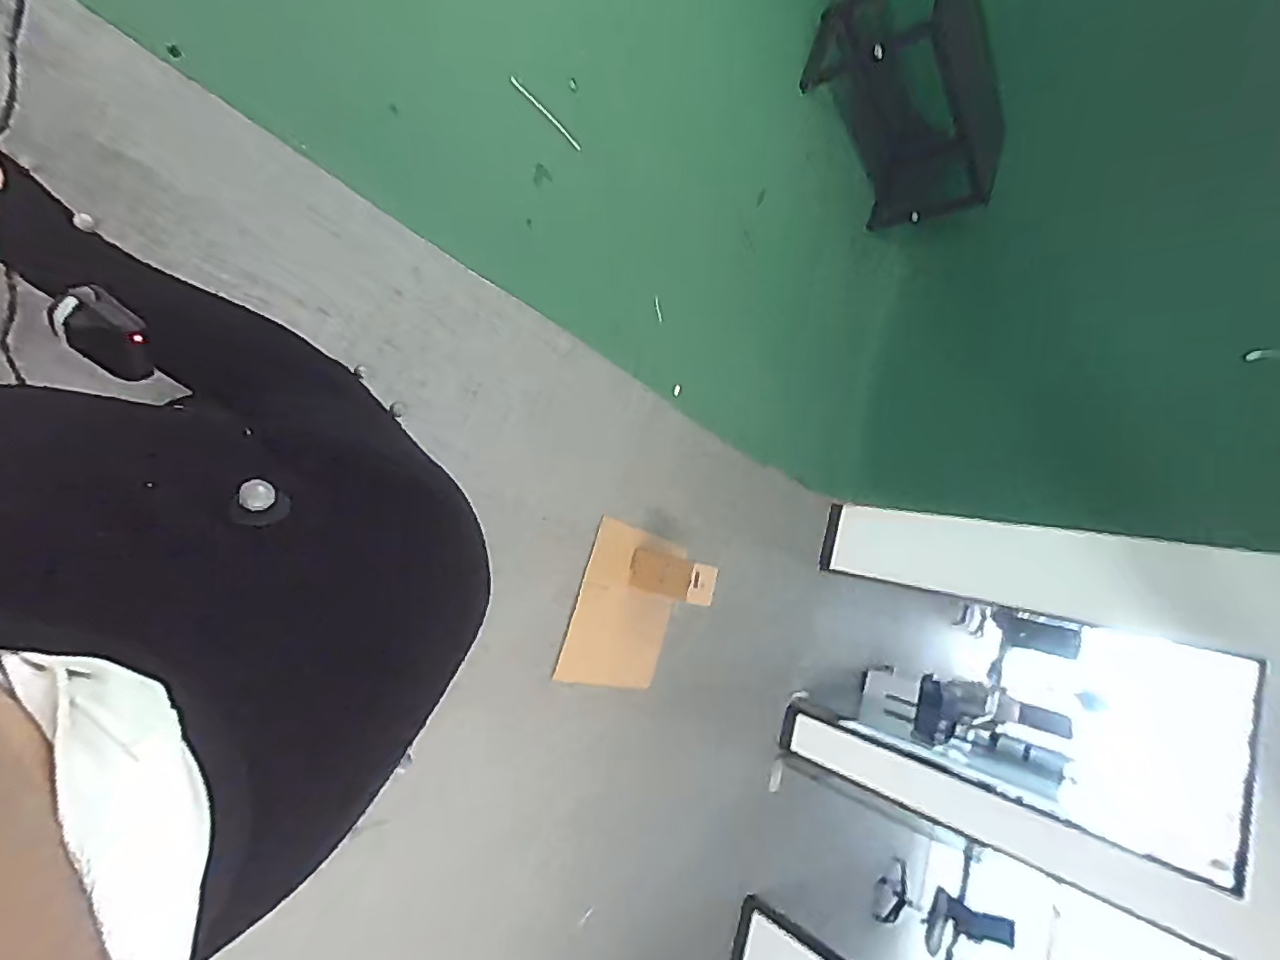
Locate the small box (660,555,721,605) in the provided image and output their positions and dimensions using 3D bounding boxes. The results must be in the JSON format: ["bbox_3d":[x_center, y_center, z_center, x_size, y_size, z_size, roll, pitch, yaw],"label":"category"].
[{"bbox_3d":[0.209,0.418,2.275,0.179,0.176,0.168,21,80,-46],"label":"small box"}]

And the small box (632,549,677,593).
[{"bbox_3d":[0.093,0.404,2.389,0.179,0.176,0.168,16,84,-45],"label":"small box"}]
